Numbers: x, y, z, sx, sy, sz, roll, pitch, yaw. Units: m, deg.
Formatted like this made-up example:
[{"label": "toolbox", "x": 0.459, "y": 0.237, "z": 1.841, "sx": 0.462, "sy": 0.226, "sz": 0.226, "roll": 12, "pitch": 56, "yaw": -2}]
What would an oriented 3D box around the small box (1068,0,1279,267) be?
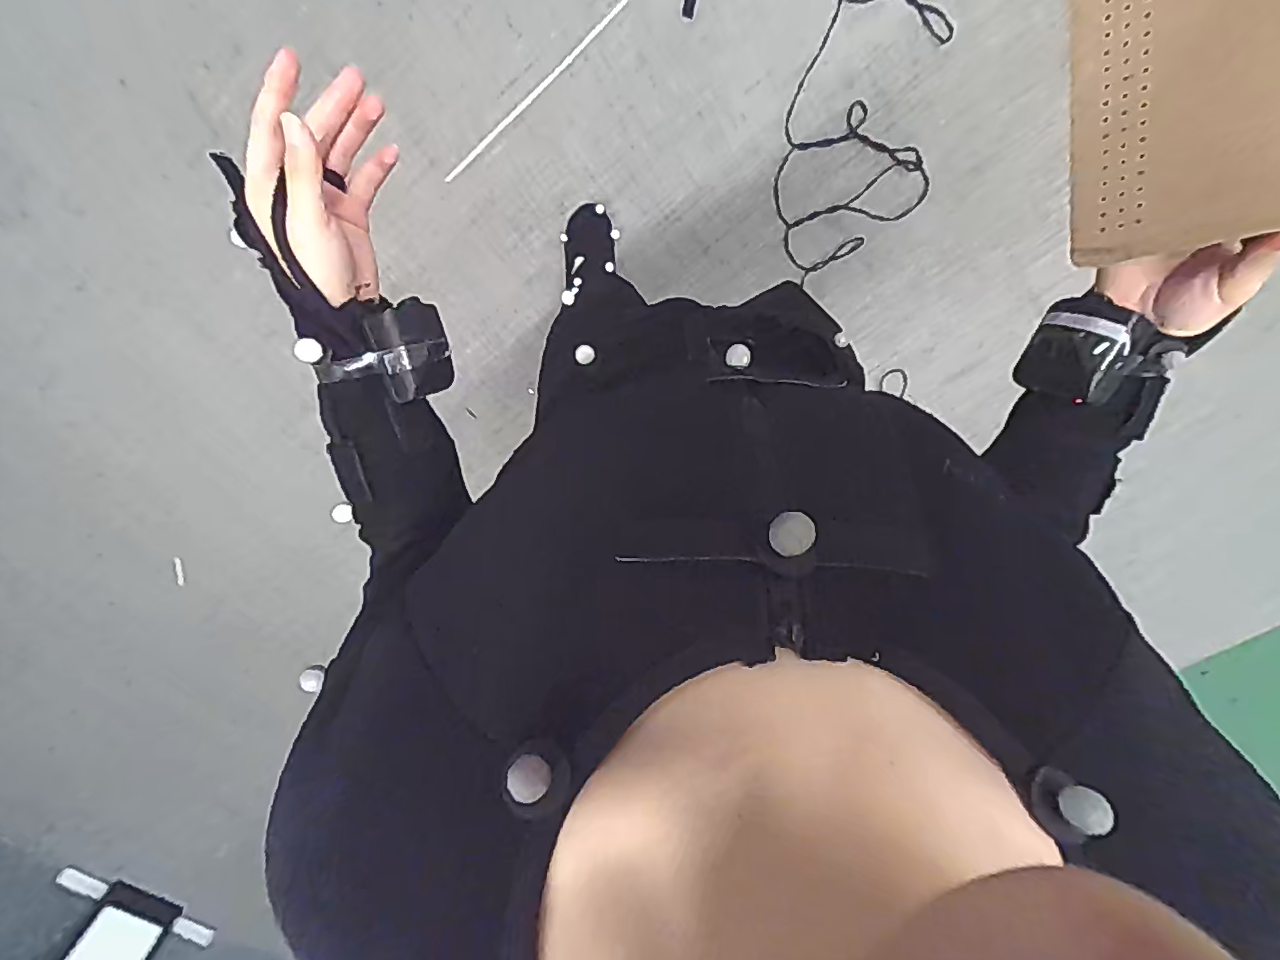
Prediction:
[{"label": "small box", "x": 0.296, "y": -0.196, "z": 0.198, "sx": 0.168, "sy": 0.176, "sz": 0.179, "roll": -17, "pitch": 104, "yaw": -20}]
